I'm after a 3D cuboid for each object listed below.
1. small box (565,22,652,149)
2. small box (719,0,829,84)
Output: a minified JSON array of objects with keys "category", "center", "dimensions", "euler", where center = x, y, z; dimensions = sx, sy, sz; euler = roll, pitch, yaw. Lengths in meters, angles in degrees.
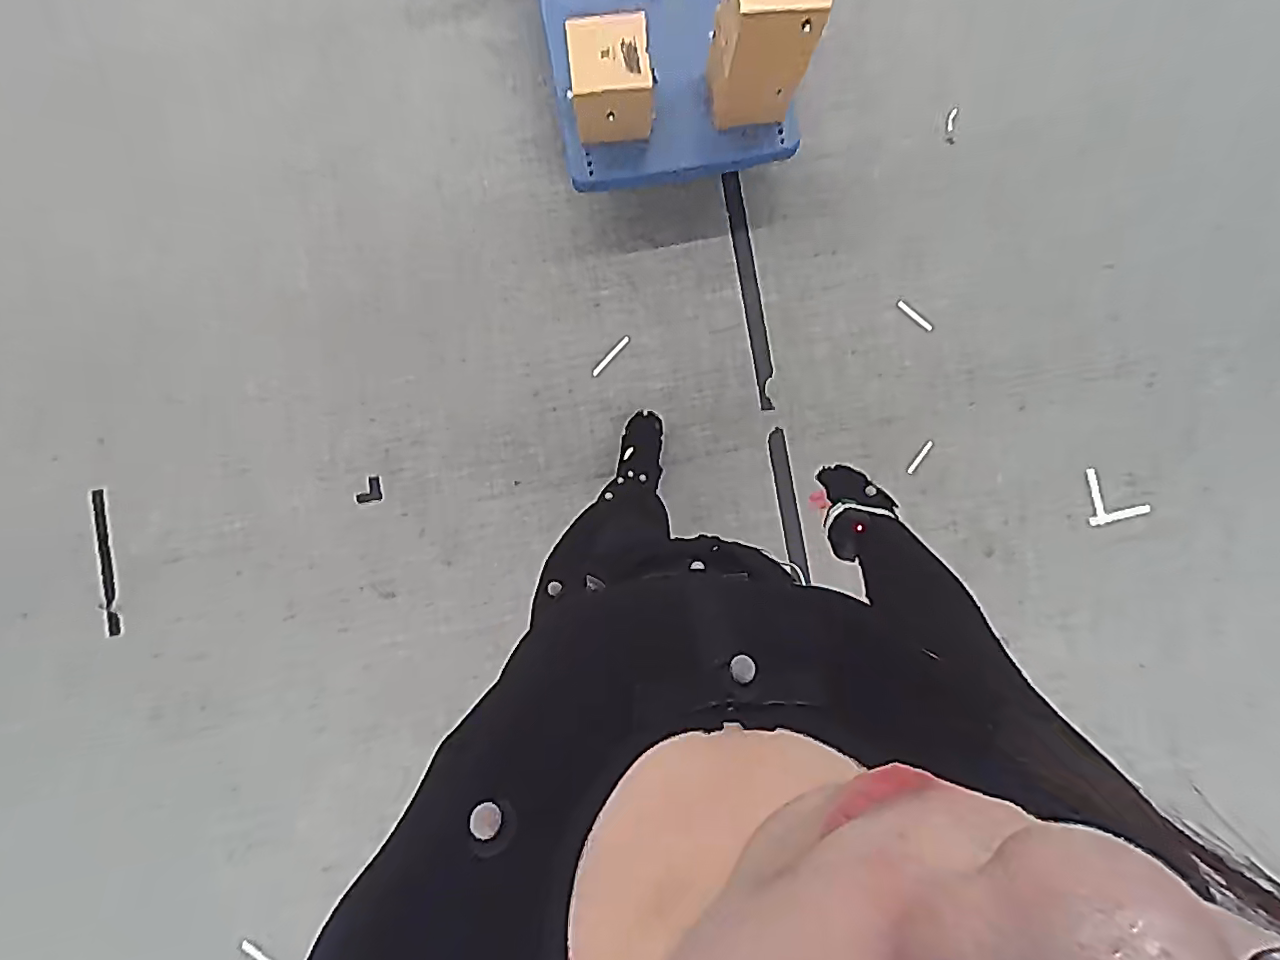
[{"category":"small box","center":[-0.070,-0.899,1.245],"dimensions":[0.179,0.176,0.168],"euler":[-6,88,-1]},{"category":"small box","center":[0.259,-0.939,1.091],"dimensions":[0.179,0.176,0.168],"euler":[-5,88,-2]}]
